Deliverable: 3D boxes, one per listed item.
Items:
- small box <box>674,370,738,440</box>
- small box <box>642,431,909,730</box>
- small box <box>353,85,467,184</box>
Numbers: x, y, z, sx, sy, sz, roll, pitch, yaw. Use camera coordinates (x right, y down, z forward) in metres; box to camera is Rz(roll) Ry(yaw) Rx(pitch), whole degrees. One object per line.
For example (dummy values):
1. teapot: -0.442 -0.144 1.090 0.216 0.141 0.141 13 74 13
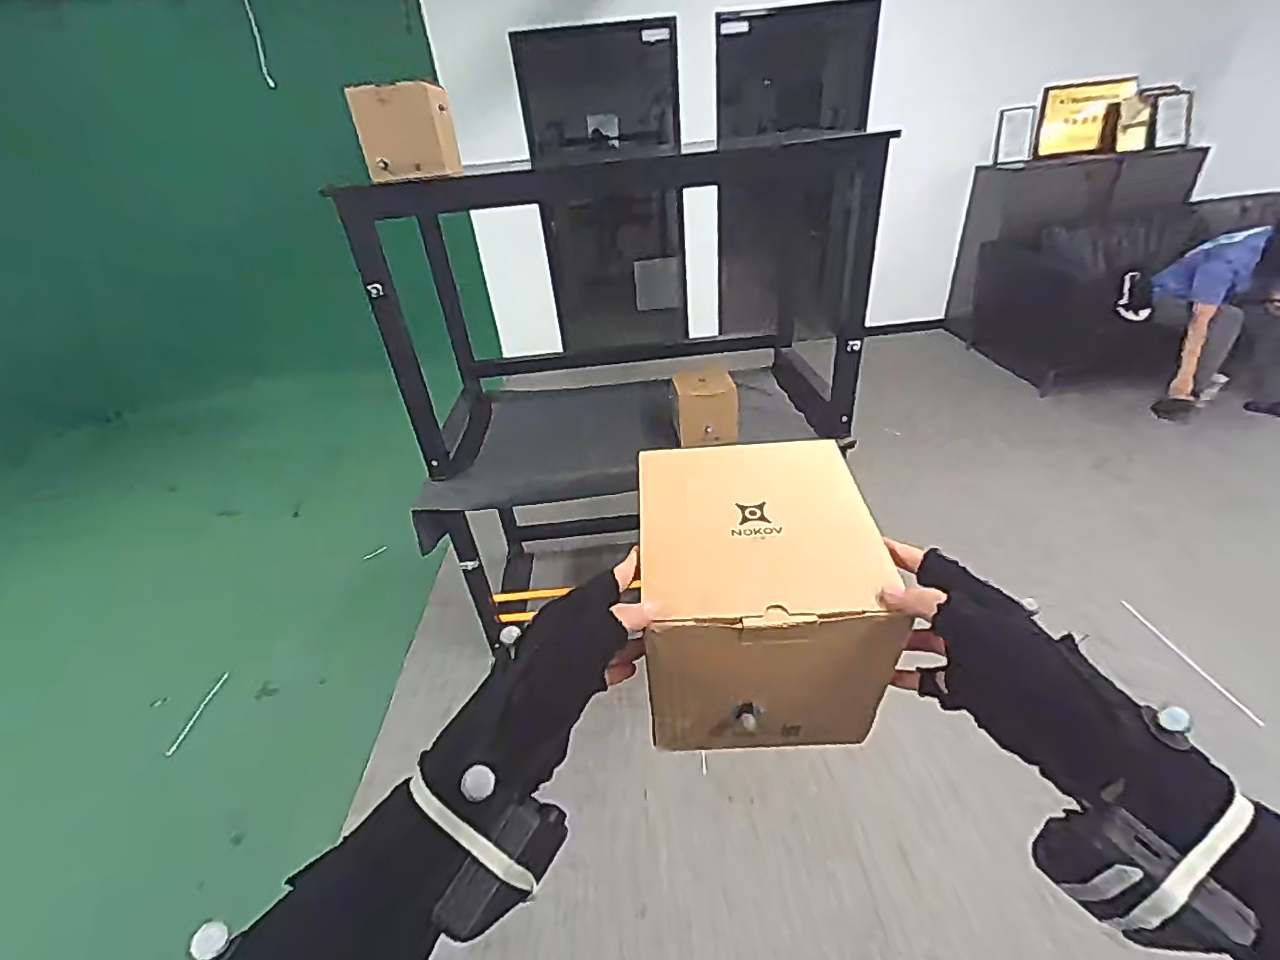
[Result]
1. small box: 0.191 -0.209 1.594 0.168 0.176 0.179 -7 31 0
2. small box: 0.086 0.079 0.445 0.168 0.176 0.179 -4 39 1
3. small box: -0.498 -0.761 1.203 0.168 0.176 0.179 -6 31 -2
